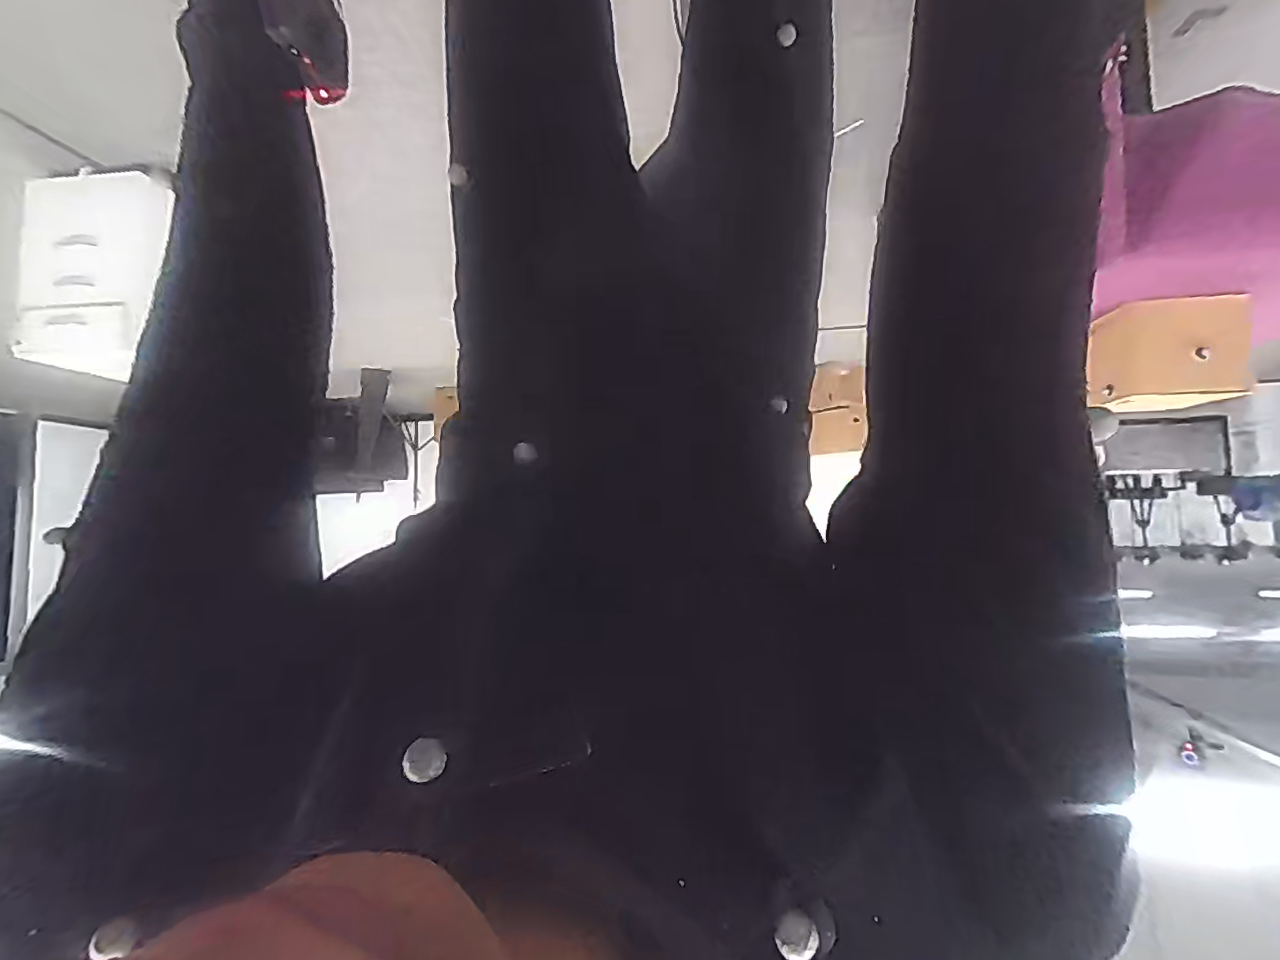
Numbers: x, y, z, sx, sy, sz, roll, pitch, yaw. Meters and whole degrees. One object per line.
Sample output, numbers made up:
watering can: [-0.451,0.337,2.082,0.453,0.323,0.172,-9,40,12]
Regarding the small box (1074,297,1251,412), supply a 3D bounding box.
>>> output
small box: [0.943,-0.226,0.993,0.179,0.176,0.168,-1,176,10]
